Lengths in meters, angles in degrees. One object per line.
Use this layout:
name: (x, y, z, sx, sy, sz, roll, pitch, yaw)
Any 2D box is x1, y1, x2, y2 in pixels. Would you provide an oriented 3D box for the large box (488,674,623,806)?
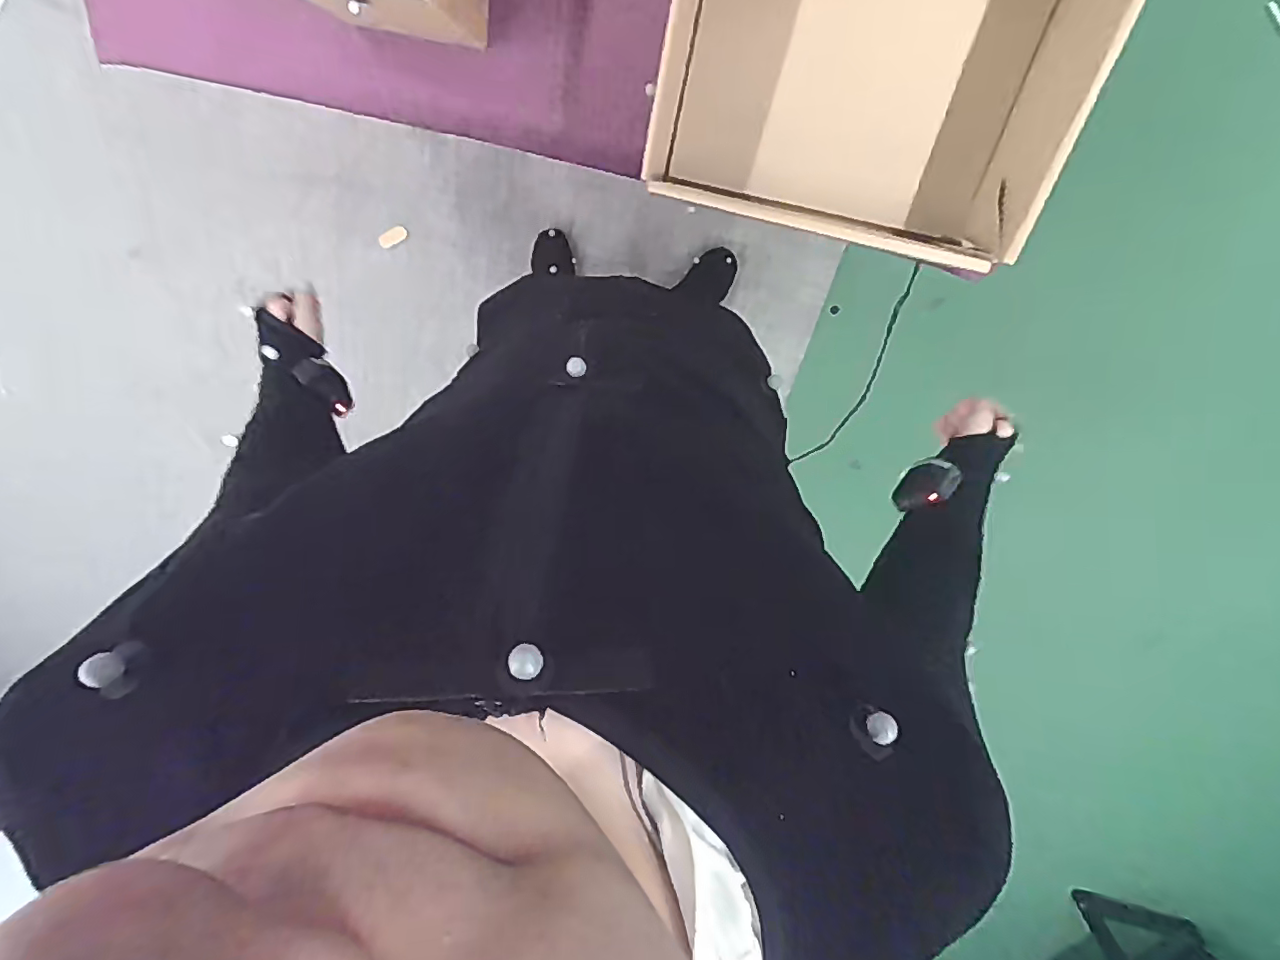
large box: (-0.314, 1.016, 2.123, 0.408, 0.320, 0.320, -15, 115, 12)

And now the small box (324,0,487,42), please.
small box: (-0.268, -0.588, 0.560, 0.179, 0.176, 0.168, 11, 116, 0)
